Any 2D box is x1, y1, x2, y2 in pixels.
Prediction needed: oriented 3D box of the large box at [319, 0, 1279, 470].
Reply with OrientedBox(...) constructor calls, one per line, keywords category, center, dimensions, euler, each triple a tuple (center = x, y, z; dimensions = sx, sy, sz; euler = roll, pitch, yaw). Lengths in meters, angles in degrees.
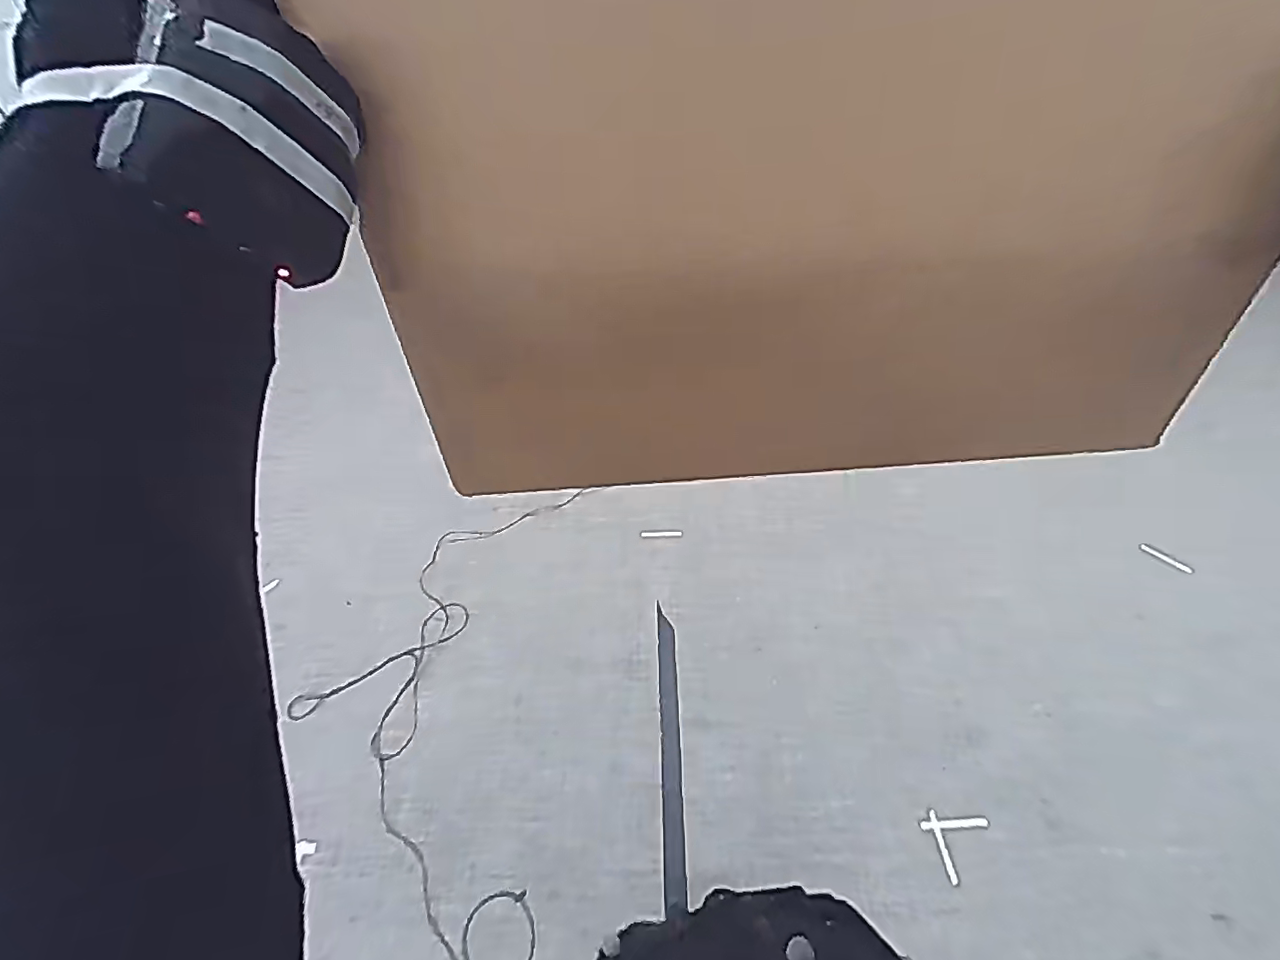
OrientedBox(category="large box", center=(0.077, -0.227, 0.341), dimensions=(0.408, 0.320, 0.320), euler=(-4, 40, -1))
